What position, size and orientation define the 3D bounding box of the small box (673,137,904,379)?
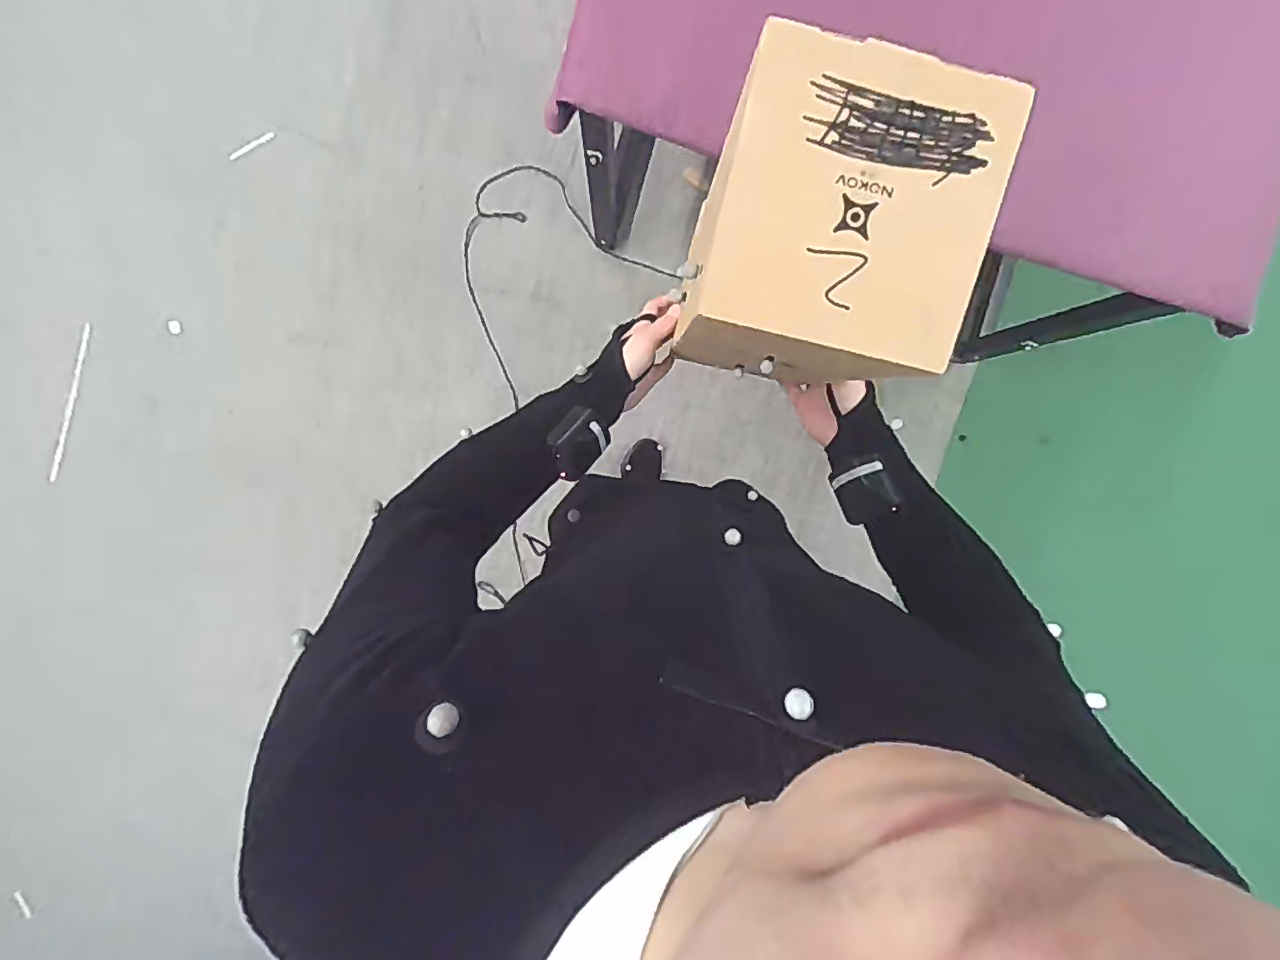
[{"bbox_3d":[0.133,-0.207,0.562,0.168,0.176,0.179,14,99,-2],"label":"small box"}]
